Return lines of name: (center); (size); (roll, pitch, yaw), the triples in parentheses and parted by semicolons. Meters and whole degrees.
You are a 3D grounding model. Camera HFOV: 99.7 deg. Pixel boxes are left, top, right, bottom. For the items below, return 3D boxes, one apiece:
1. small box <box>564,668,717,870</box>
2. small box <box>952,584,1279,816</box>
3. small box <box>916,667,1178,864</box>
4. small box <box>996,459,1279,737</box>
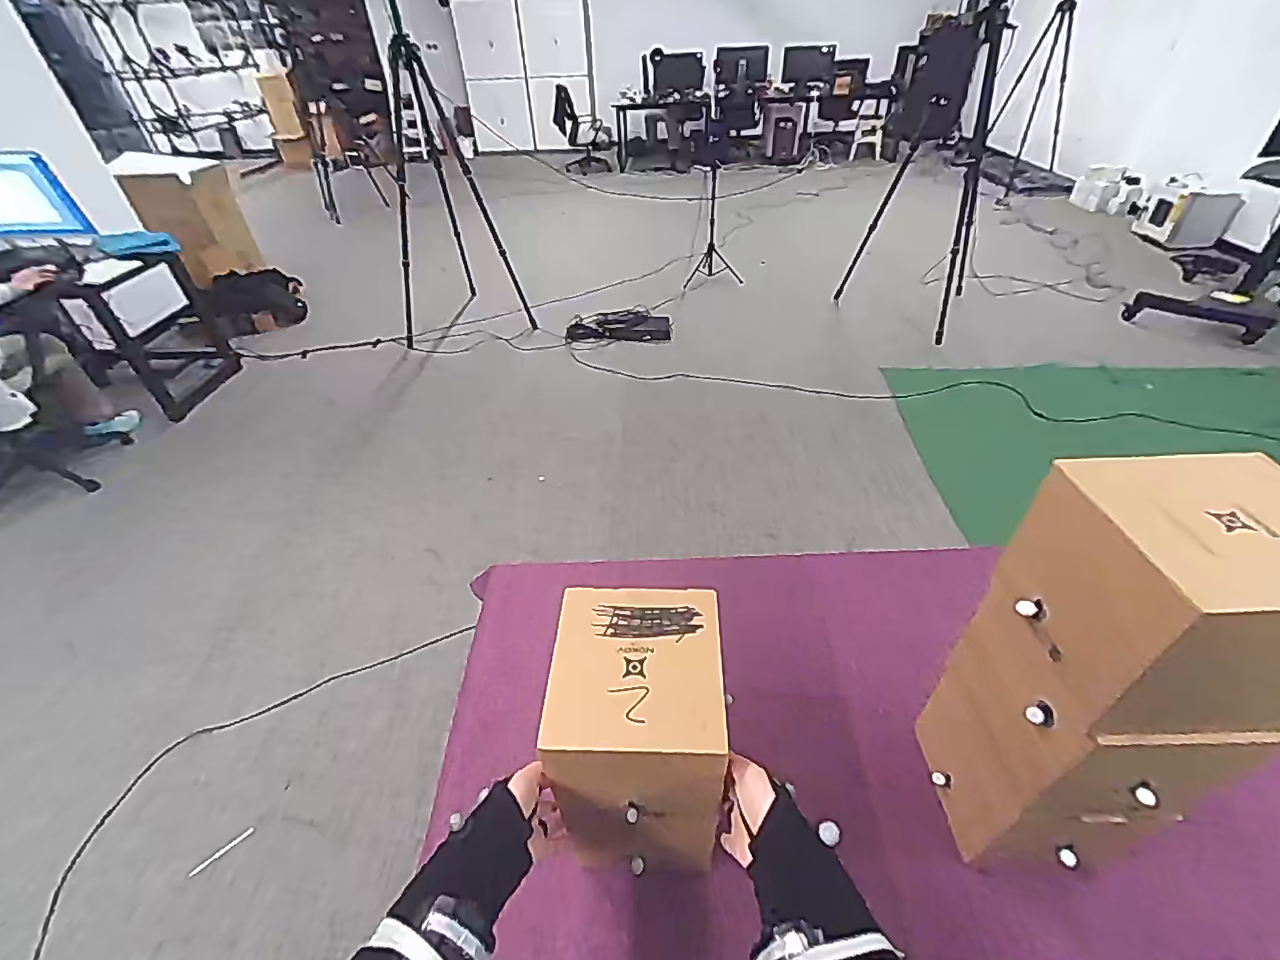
small box: (0.006, 0.361, 0.682); (0.168, 0.176, 0.179); (0, 41, 3)
small box: (0.462, 0.226, 0.559); (0.168, 0.176, 0.179); (-1, 40, 2)
small box: (0.472, 0.352, 0.666); (0.168, 0.176, 0.179); (-1, 41, 2)
small box: (0.452, 0.098, 0.457); (0.179, 0.176, 0.168); (-2, 39, 2)
